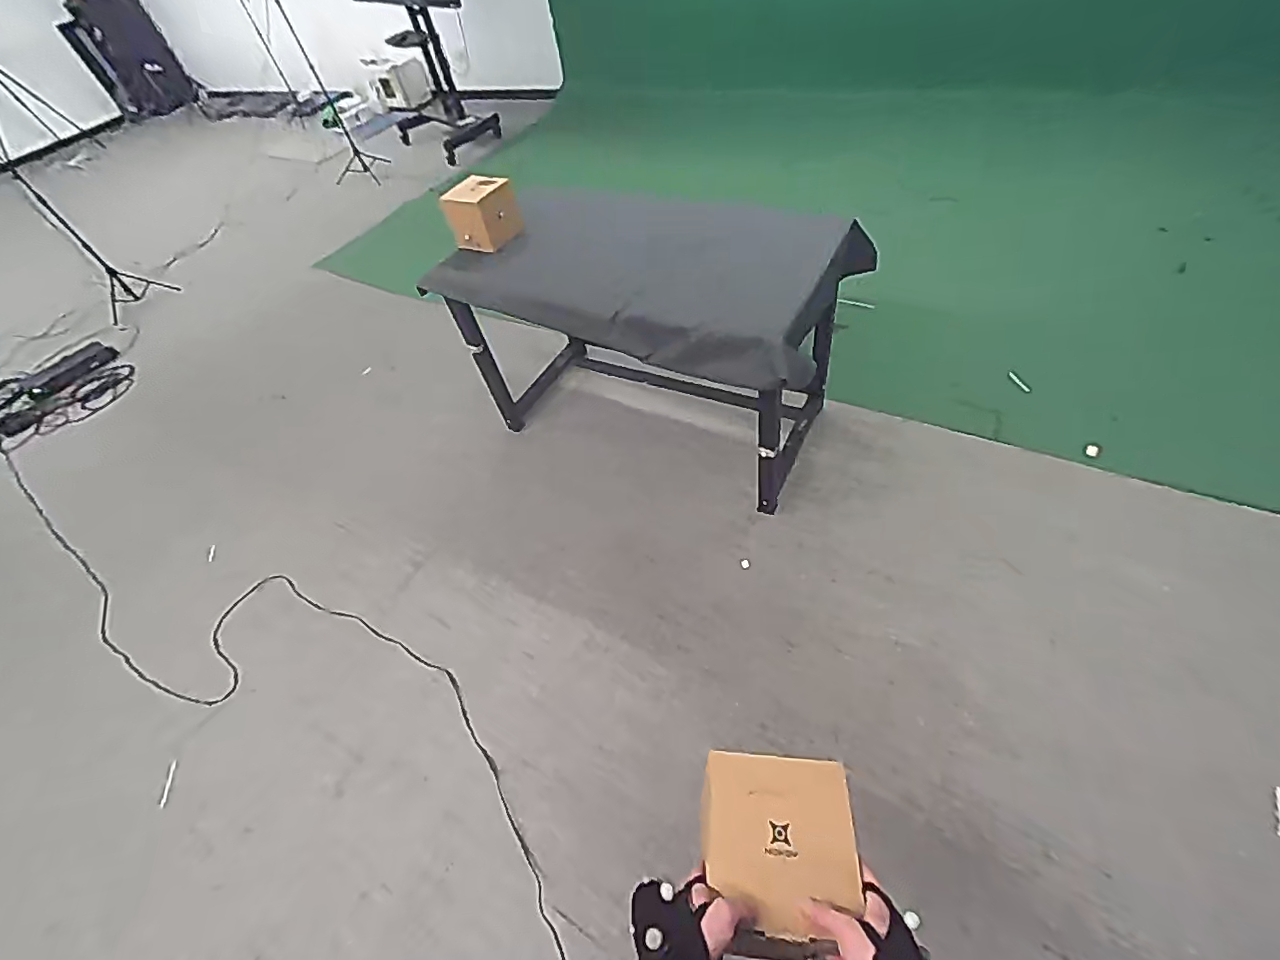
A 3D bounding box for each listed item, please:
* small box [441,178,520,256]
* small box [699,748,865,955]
[{"bbox_3d":[-0.521,-0.878,1.805,0.168,0.176,0.179,19,57,24],"label":"small box"},{"bbox_3d":[0.161,0.460,0.670,0.168,0.176,0.179,2,43,5],"label":"small box"}]
